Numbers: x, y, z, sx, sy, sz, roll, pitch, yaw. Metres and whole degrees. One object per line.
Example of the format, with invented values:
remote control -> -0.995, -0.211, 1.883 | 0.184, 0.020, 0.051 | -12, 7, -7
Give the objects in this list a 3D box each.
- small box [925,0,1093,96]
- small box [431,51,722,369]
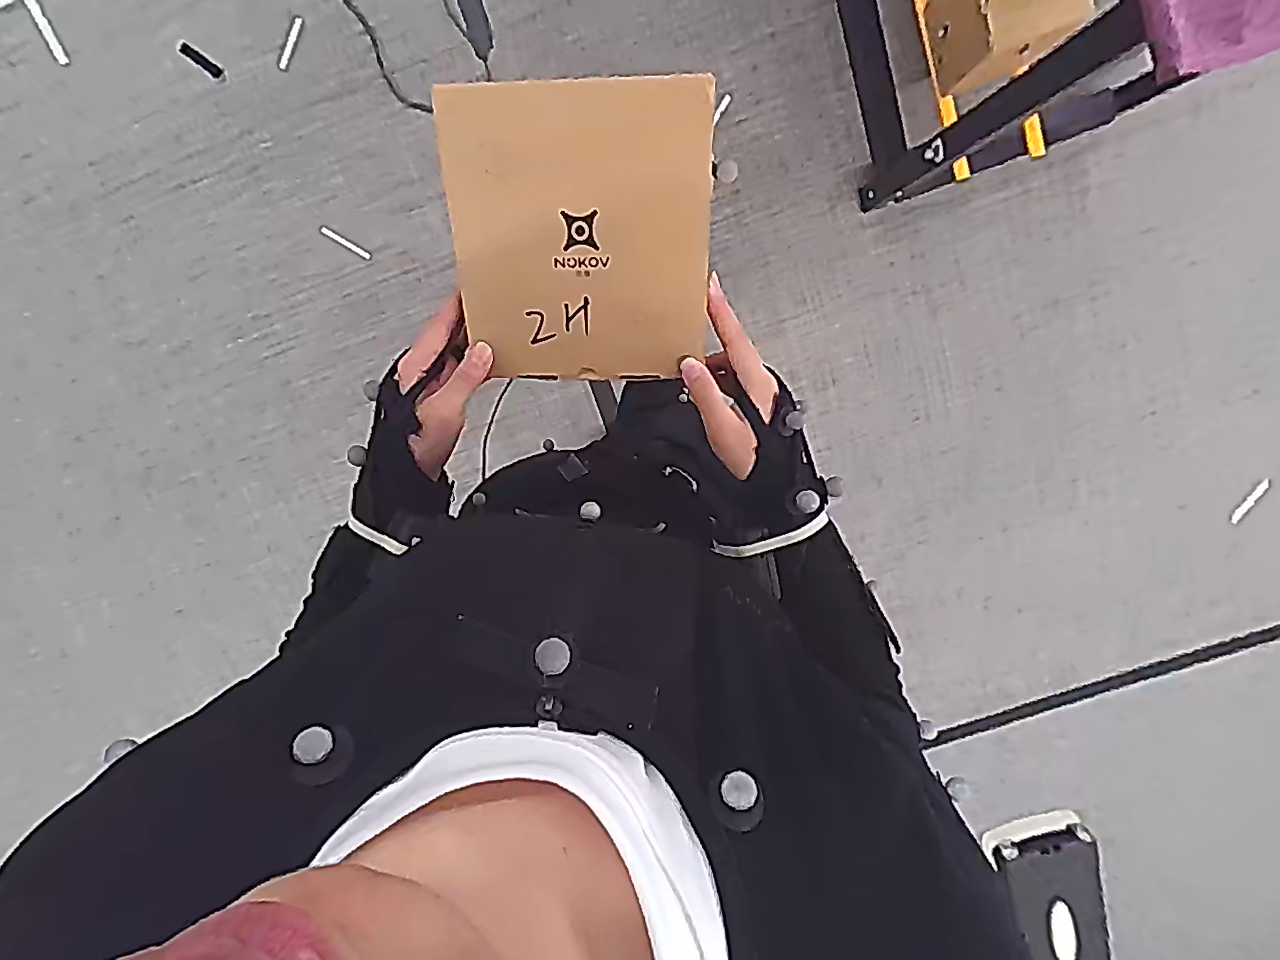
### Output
small box -> 0.655, -0.845, 0.976 | 0.179, 0.176, 0.168 | -19, 102, 5
small box -> -0.031, -0.189, 0.405 | 0.168, 0.176, 0.179 | 1, 116, 5
